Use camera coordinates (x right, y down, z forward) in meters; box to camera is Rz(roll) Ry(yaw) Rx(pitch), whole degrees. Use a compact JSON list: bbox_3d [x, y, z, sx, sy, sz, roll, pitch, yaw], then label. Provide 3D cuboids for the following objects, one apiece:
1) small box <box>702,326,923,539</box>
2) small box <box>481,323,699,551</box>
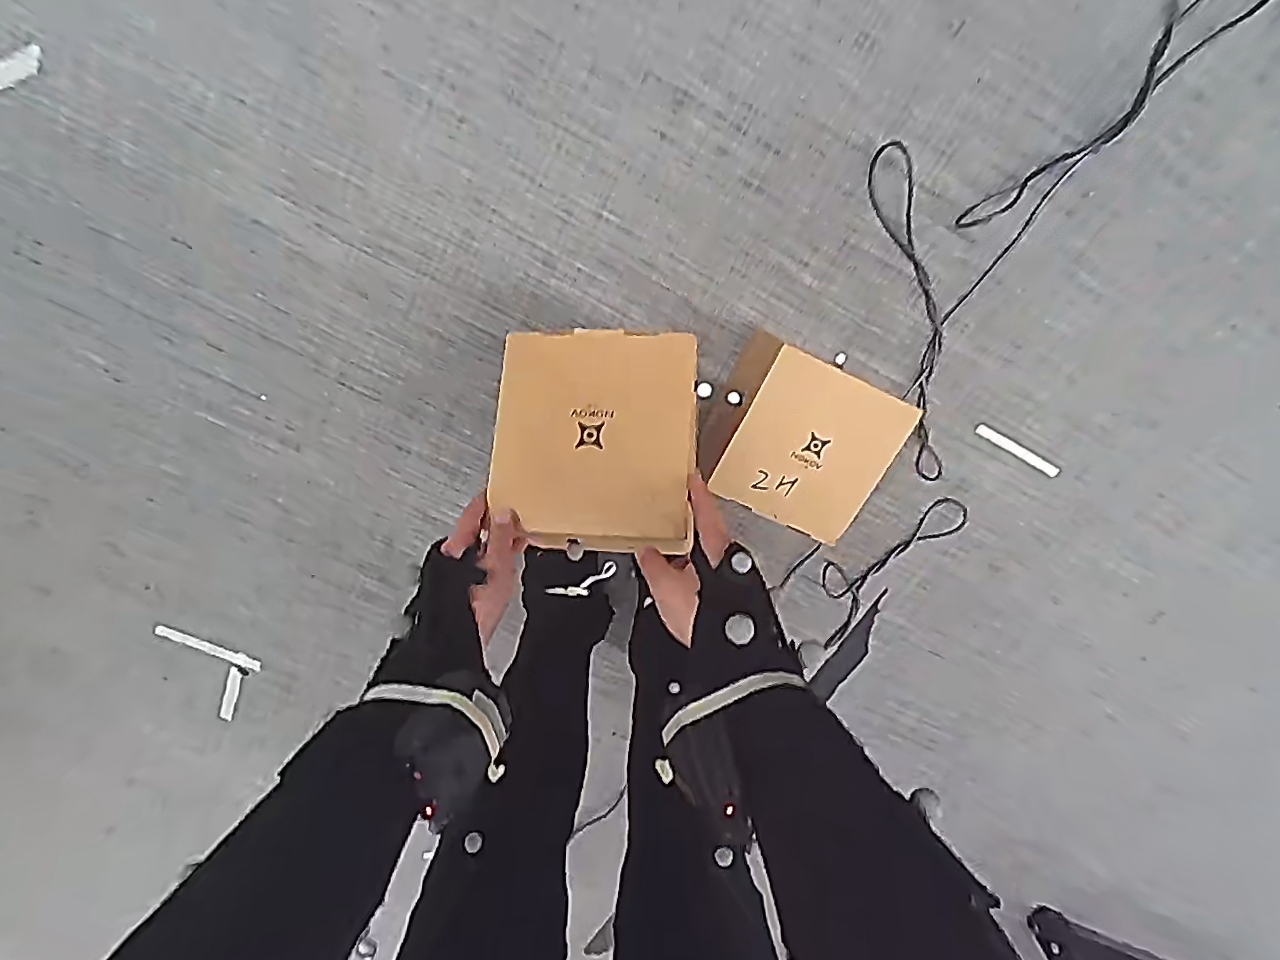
[{"bbox_3d":[0.182,-0.066,0.639,0.168,0.176,0.179,24,110,-6],"label":"small box"},{"bbox_3d":[-0.031,-0.028,0.509,0.168,0.176,0.179,1,77,8],"label":"small box"}]
